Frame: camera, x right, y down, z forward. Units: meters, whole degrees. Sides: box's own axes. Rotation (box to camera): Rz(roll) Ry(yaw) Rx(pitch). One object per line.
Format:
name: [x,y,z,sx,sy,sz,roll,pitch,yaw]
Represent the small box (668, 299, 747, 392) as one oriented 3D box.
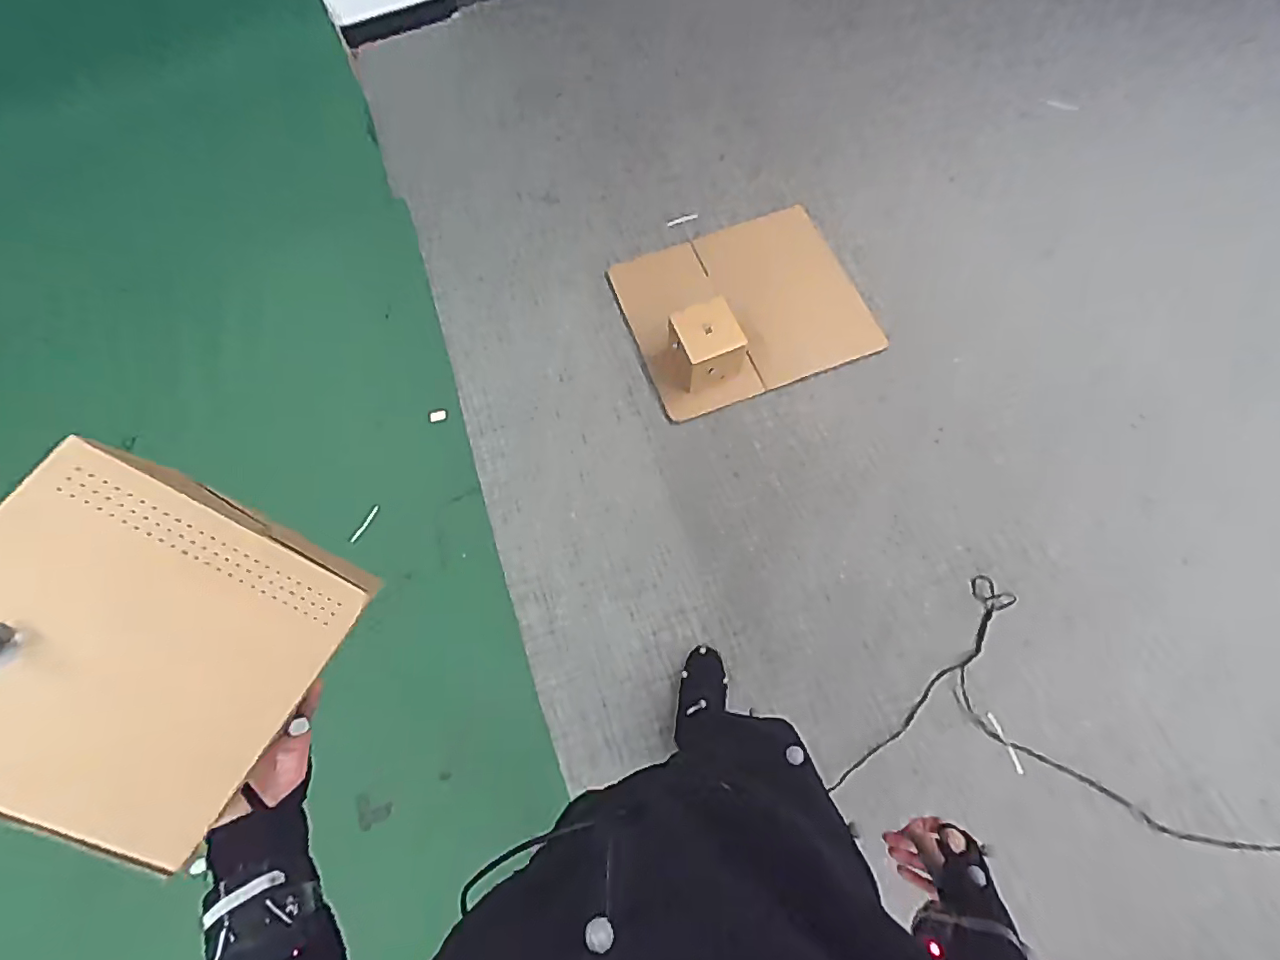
small box: [0.188,-0.374,1.546,0.168,0.176,0.179,-21,69,-5]
